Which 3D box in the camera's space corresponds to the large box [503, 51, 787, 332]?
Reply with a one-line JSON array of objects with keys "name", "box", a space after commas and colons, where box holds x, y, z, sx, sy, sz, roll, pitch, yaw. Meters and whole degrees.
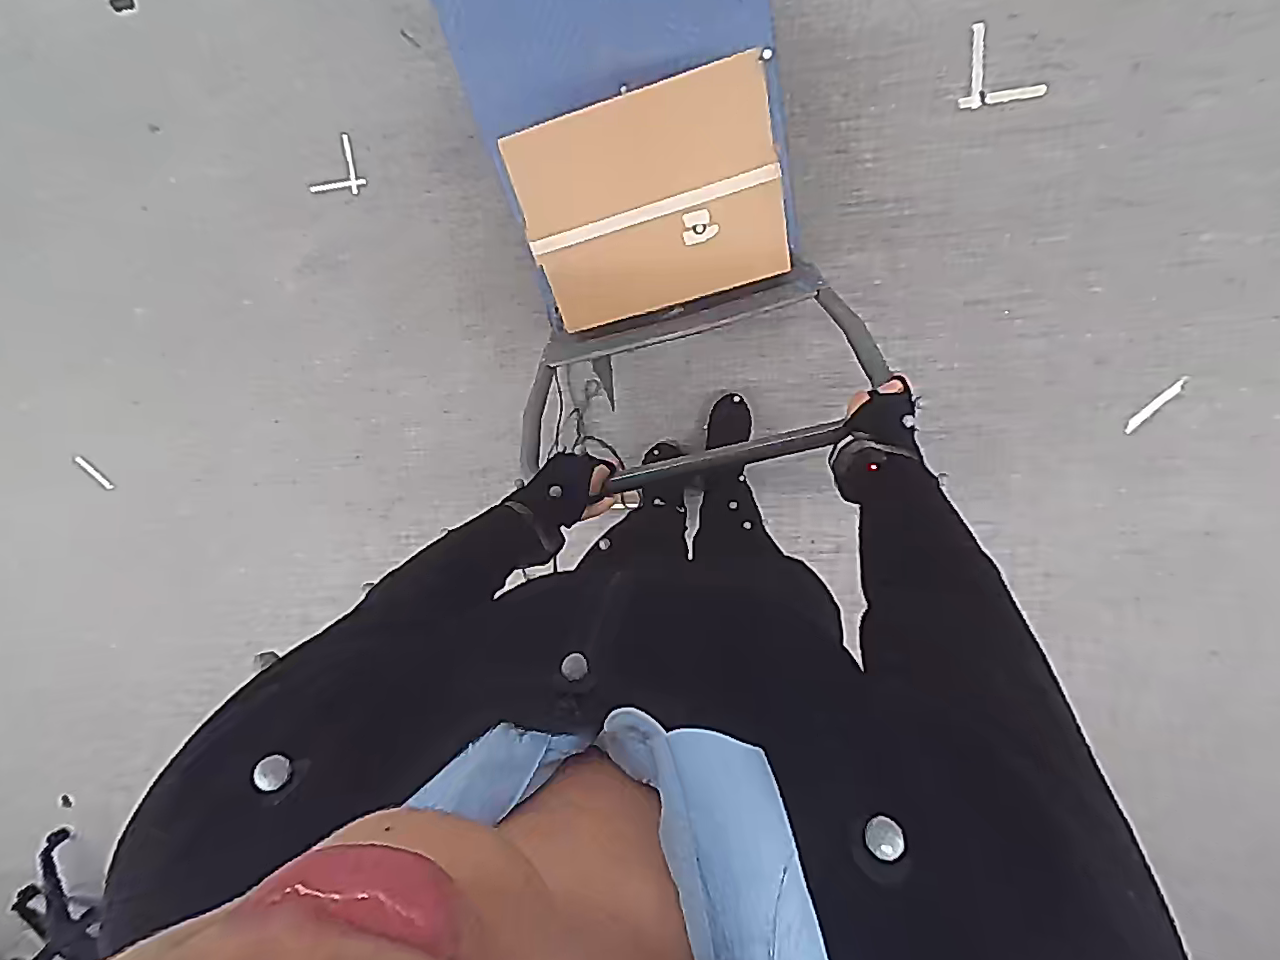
[{"name": "large box", "box": [0.018, -0.519, 0.999, 0.408, 0.320, 0.320, -14, 123, 9]}]
